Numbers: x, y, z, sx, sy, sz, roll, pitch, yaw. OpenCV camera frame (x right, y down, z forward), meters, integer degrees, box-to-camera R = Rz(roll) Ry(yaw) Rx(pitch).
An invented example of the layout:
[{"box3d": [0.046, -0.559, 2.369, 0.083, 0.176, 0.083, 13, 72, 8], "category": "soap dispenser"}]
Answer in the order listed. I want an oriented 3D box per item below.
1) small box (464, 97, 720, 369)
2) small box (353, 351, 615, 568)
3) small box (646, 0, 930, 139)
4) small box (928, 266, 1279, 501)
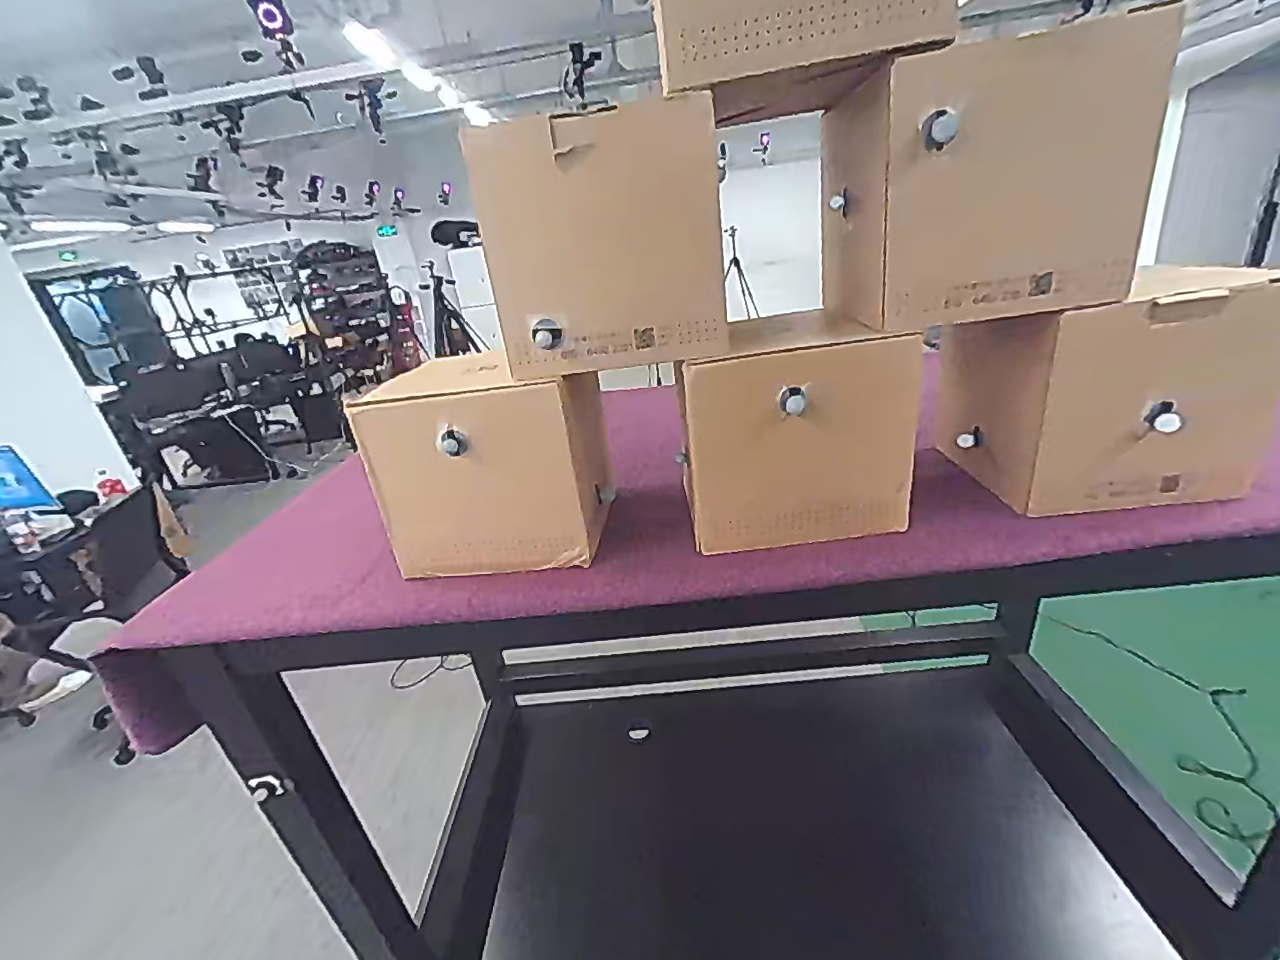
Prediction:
[{"box3d": [-0.025, -0.195, 0.463, 0.168, 0.176, 0.179, -6, 22, 4], "category": "small box"}, {"box3d": [-0.130, -0.026, 0.525, 0.179, 0.176, 0.168, -4, 23, 8], "category": "small box"}, {"box3d": [0.091, -0.359, 0.385, 0.179, 0.176, 0.168, -6, 23, 7], "category": "small box"}, {"box3d": [0.383, -0.088, 0.489, 0.168, 0.176, 0.179, -5, 24, 6], "category": "small box"}]
